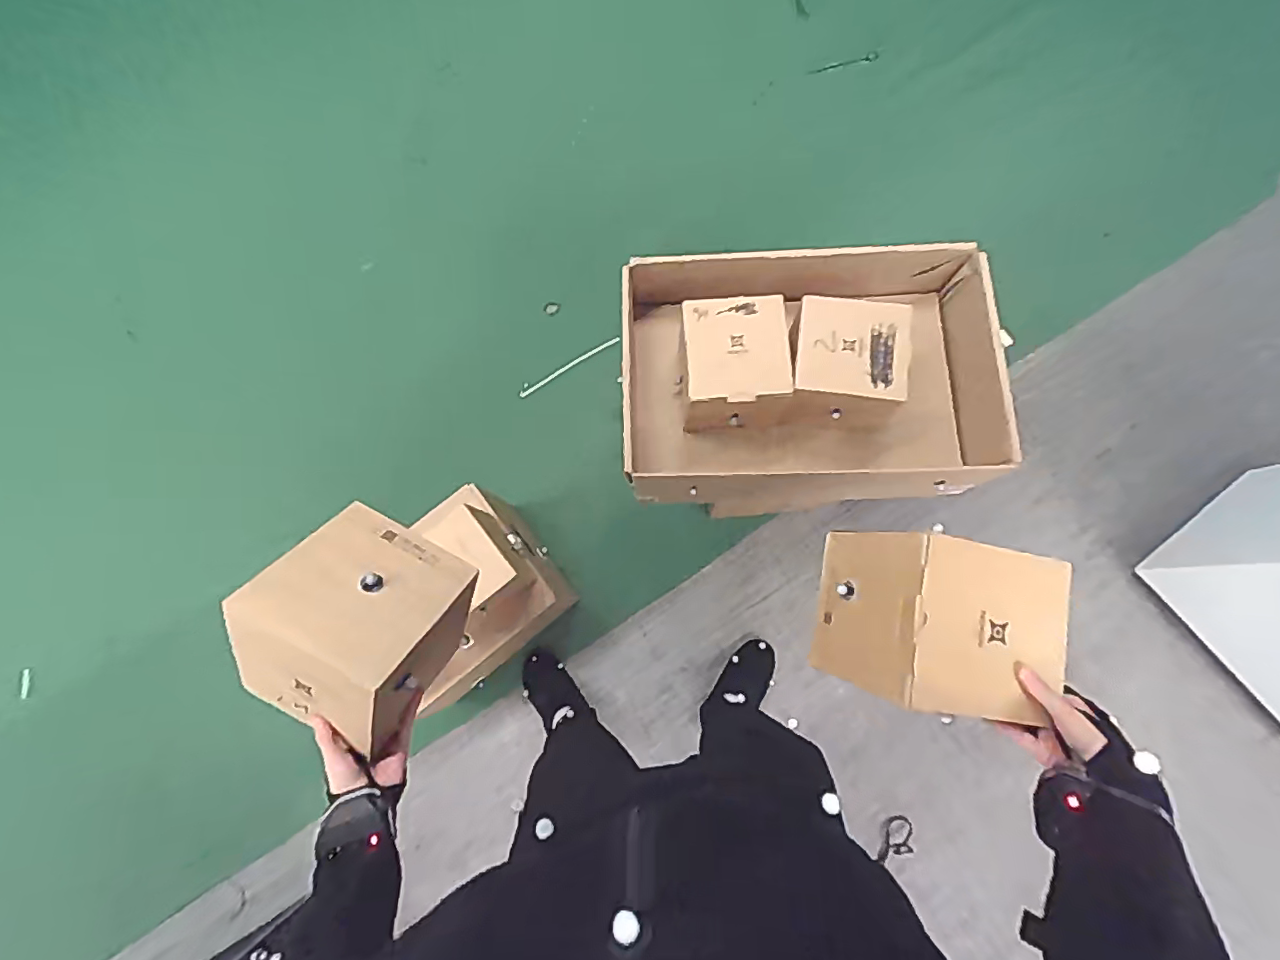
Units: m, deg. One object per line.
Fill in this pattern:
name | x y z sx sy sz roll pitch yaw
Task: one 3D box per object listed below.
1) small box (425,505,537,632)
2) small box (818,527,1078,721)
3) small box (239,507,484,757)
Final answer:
small box | -0.318 0.173 1.002 0.179 0.176 0.168 -38 80 -6
small box | 0.327 0.146 0.596 0.179 0.176 0.168 11 82 -11
small box | -0.296 0.161 0.603 0.168 0.179 0.176 29 39 4
